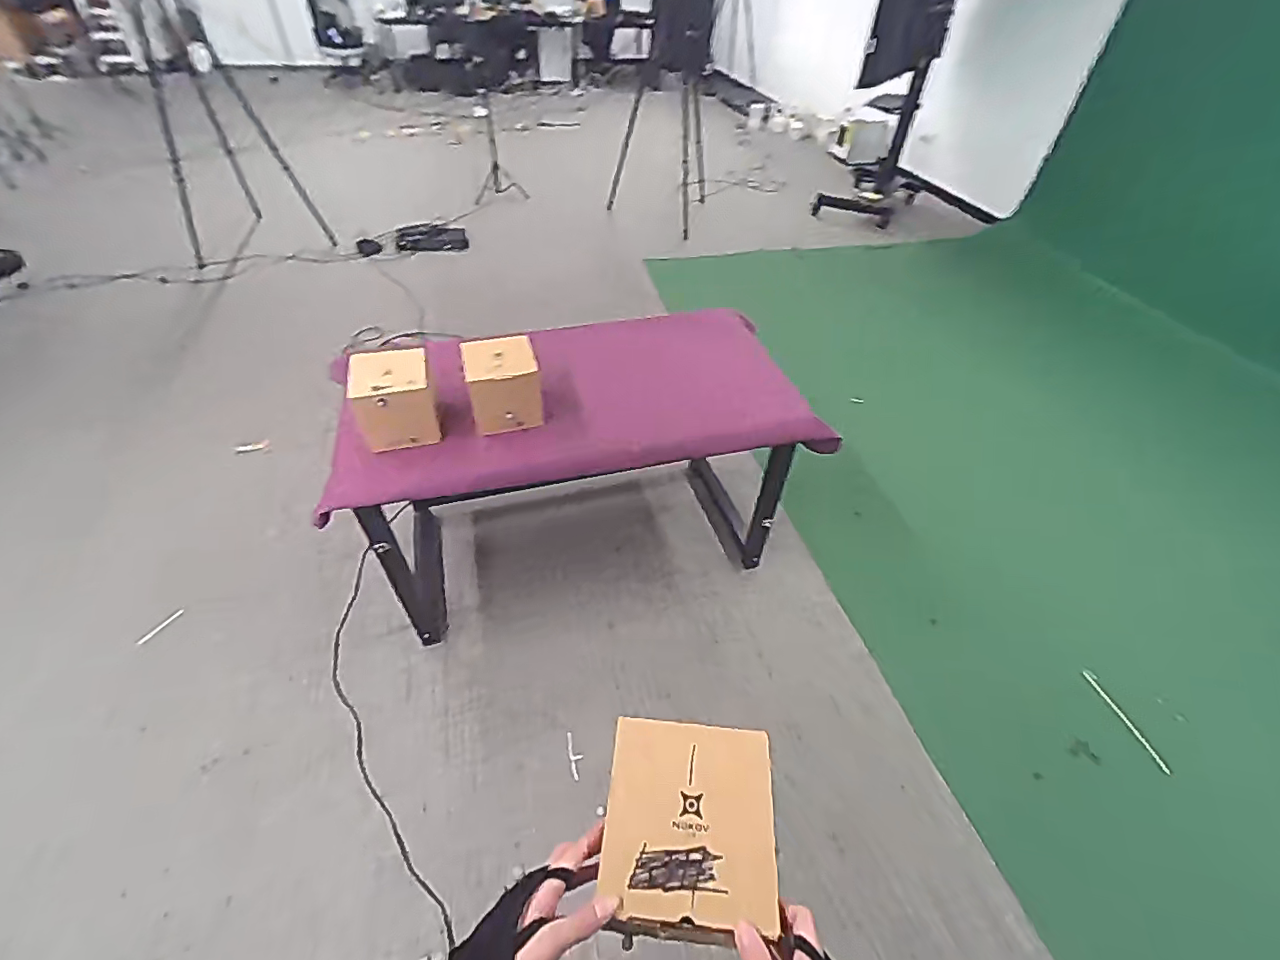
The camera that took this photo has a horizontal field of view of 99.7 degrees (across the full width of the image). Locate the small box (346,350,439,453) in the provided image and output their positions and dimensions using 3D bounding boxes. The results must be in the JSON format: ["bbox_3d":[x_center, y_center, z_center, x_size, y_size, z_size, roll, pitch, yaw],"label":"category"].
[{"bbox_3d":[-0.590,-0.189,1.306,0.168,0.176,0.179,-11,46,-14],"label":"small box"}]

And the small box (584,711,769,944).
[{"bbox_3d":[0.038,0.377,0.585,0.168,0.176,0.179,5,45,2],"label":"small box"}]

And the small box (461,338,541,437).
[{"bbox_3d":[-0.349,-0.234,1.367,0.168,0.176,0.179,-11,47,-14],"label":"small box"}]
